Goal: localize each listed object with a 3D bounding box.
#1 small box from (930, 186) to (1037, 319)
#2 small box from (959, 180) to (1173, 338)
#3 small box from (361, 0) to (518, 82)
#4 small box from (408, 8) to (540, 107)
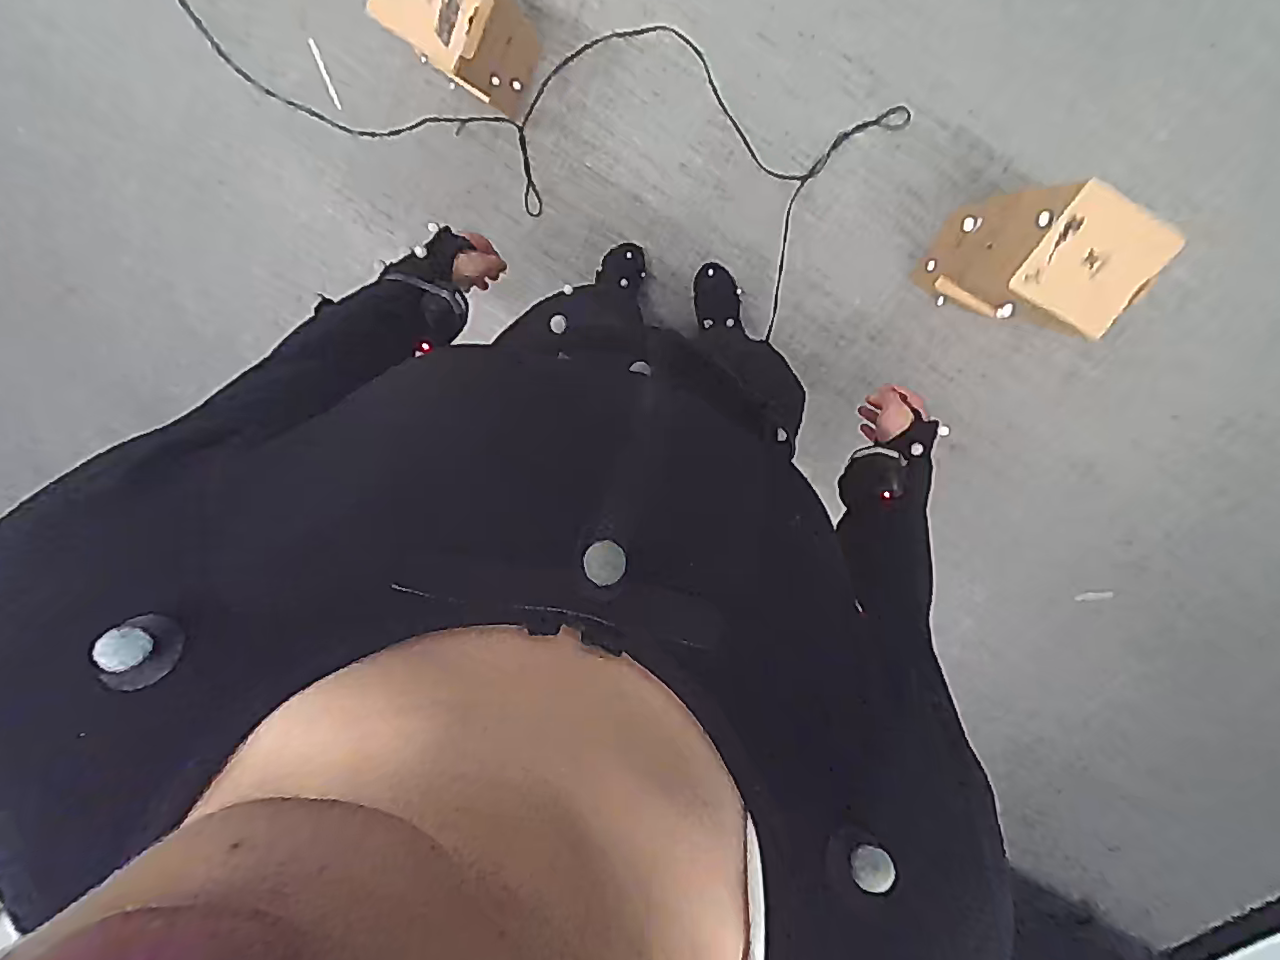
[{"bbox_3d":[0.700,-0.429,1.026,0.179,0.176,0.168,29,114,-5],"label":"small box"},{"bbox_3d":[0.673,-0.359,0.880,0.179,0.176,0.168,28,114,-7],"label":"small box"},{"bbox_3d":[-0.342,-0.843,0.952,0.179,0.176,0.168,33,114,-7],"label":"small box"},{"bbox_3d":[-0.329,-0.901,1.105,0.179,0.176,0.168,32,114,-7],"label":"small box"}]
